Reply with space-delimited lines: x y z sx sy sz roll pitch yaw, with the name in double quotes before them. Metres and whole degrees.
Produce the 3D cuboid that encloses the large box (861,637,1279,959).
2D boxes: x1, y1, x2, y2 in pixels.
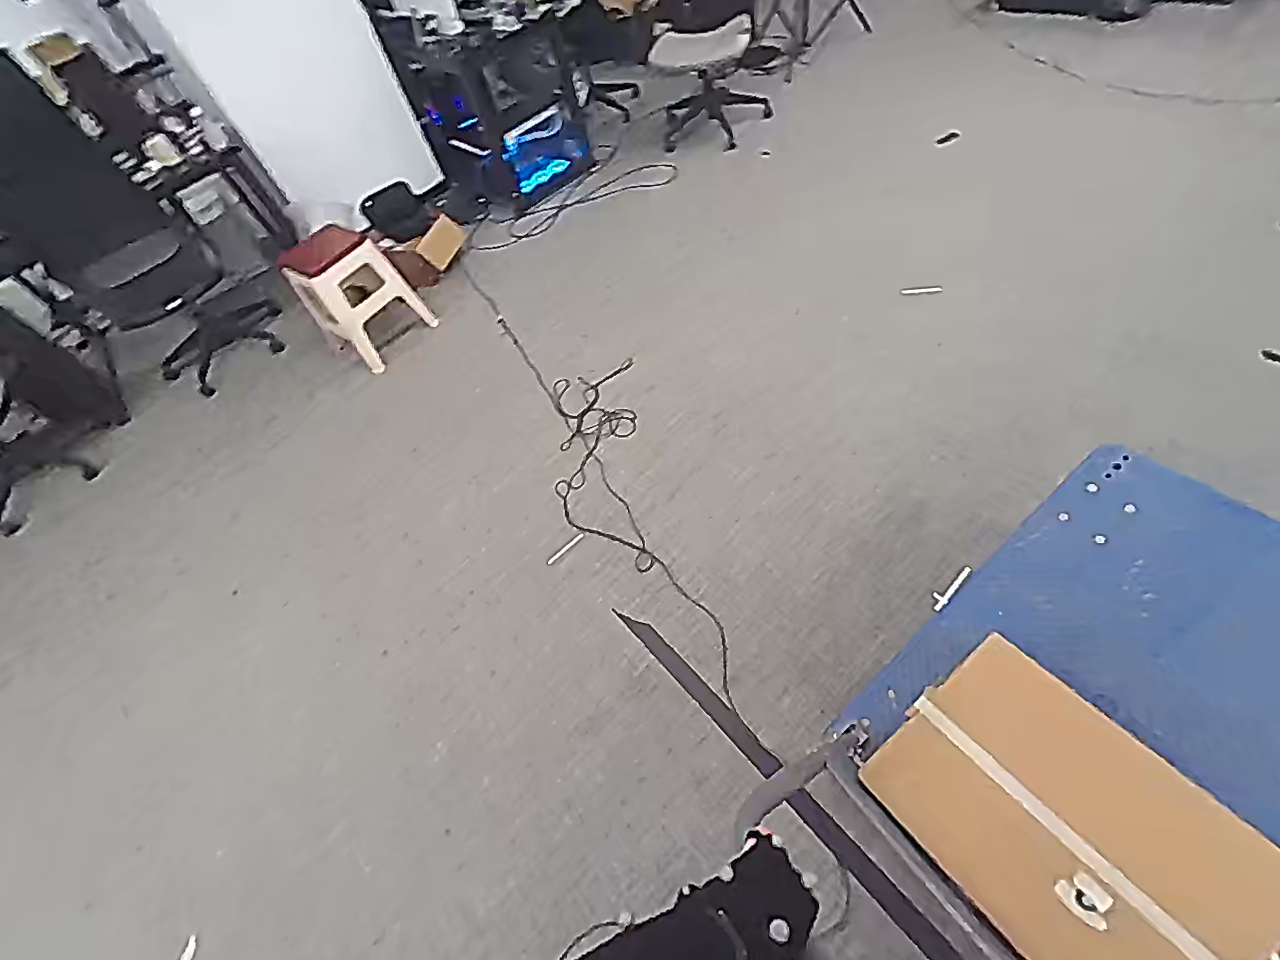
"large box" 0.631 0.514 0.867 0.320 0.320 0.408 -49 57 4
